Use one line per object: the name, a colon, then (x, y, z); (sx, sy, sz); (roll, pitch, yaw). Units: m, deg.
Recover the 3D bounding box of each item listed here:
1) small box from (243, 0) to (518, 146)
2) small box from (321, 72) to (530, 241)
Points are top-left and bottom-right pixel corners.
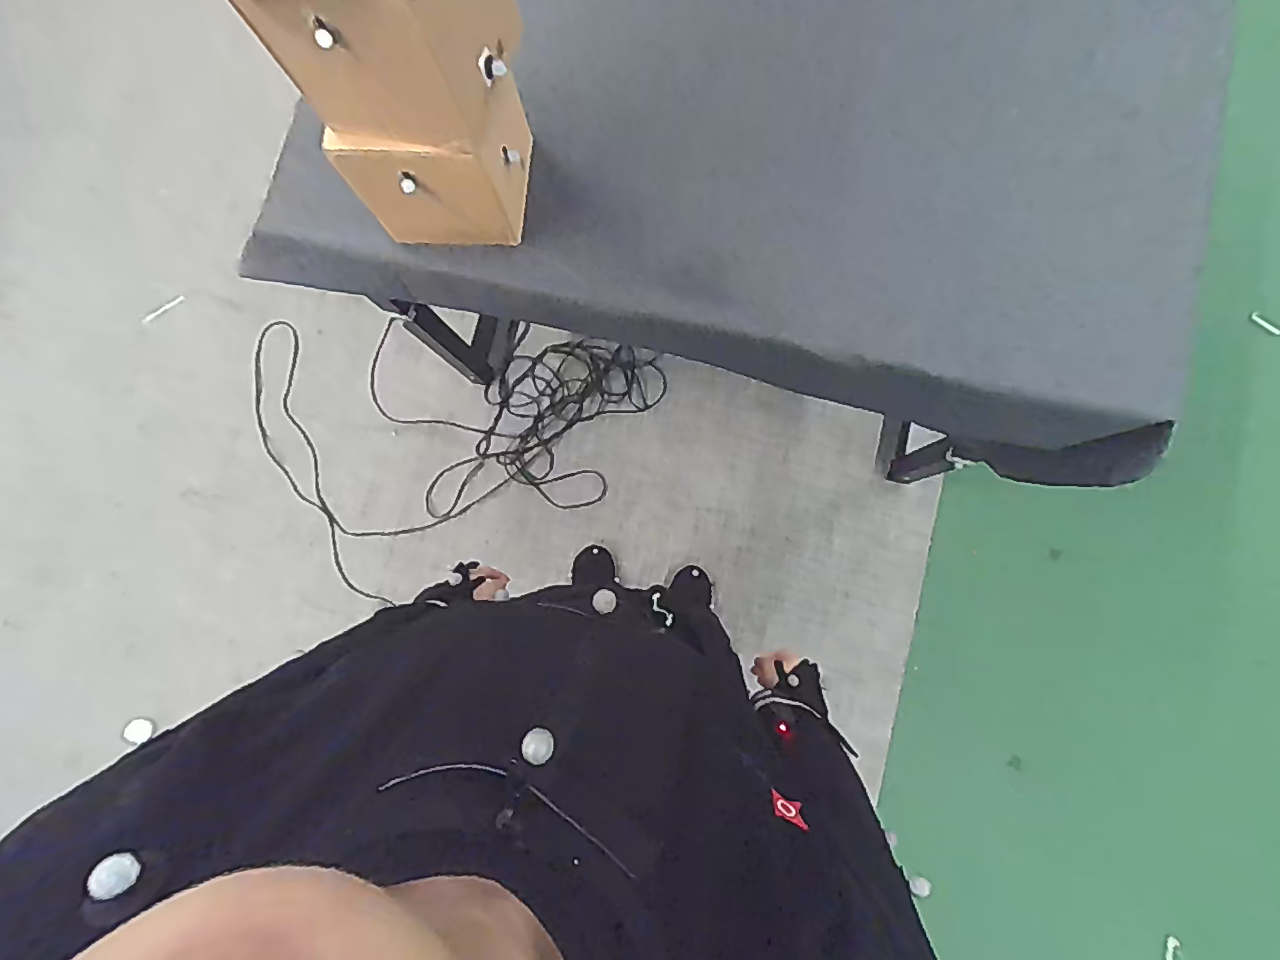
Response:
small box: (-0.233, -0.445, 0.496); (0.179, 0.176, 0.168); (13, 84, 4)
small box: (-0.241, -0.411, 0.655); (0.179, 0.176, 0.168); (4, 82, 4)
